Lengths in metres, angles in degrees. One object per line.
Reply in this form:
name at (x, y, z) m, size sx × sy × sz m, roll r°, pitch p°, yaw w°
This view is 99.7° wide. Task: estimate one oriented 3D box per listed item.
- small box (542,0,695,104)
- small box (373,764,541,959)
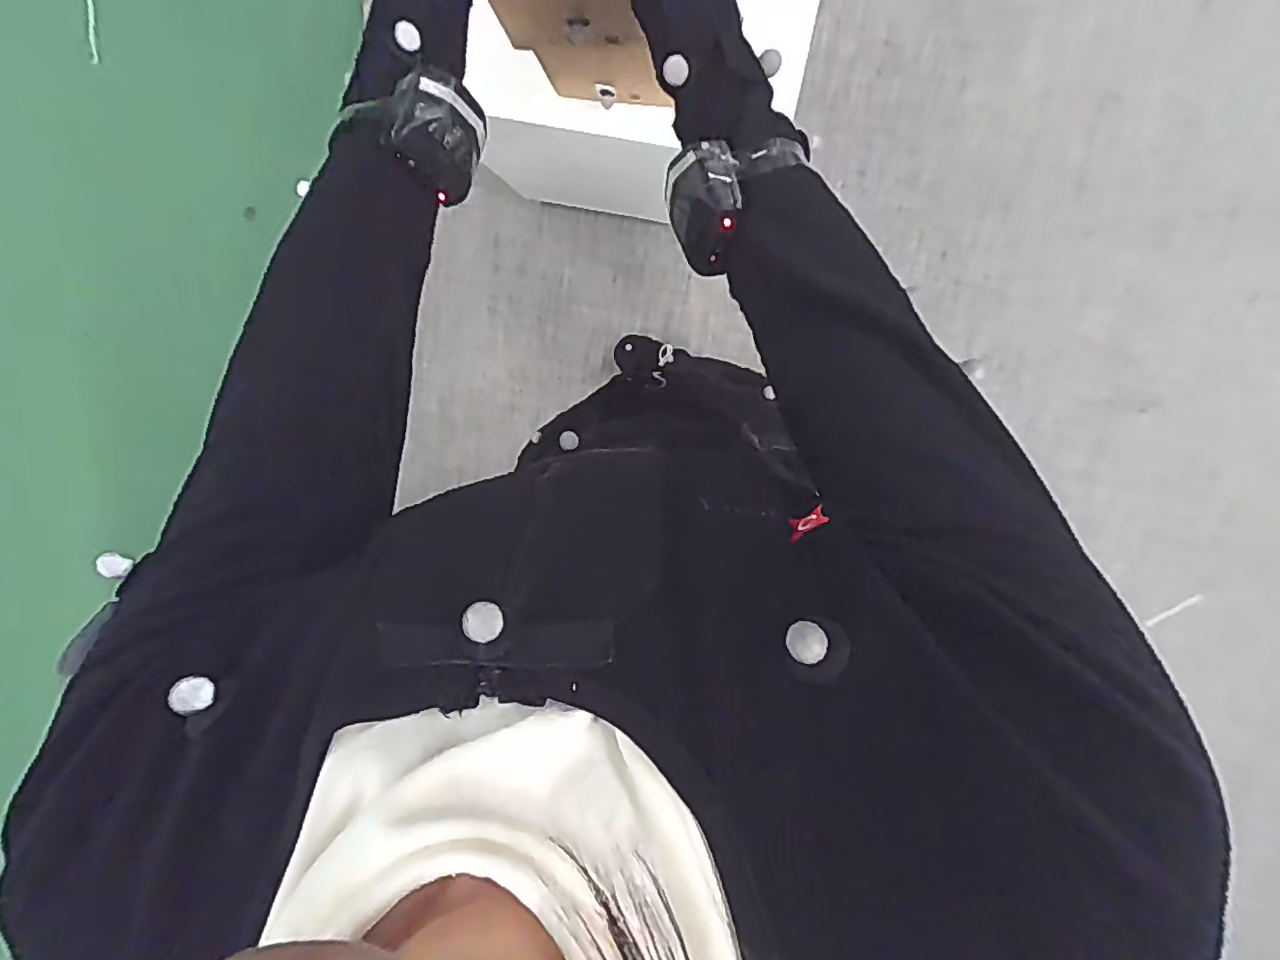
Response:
small box at (-0.027, -0.551, 0.595) m, size 0.168 × 0.176 × 0.179 m, roll 7°, pitch 107°, yaw 5°
small box at (-0.254, 0.548, 0.781) m, size 0.179 × 0.176 × 0.168 m, roll 13°, pitch 108°, yaw 2°
